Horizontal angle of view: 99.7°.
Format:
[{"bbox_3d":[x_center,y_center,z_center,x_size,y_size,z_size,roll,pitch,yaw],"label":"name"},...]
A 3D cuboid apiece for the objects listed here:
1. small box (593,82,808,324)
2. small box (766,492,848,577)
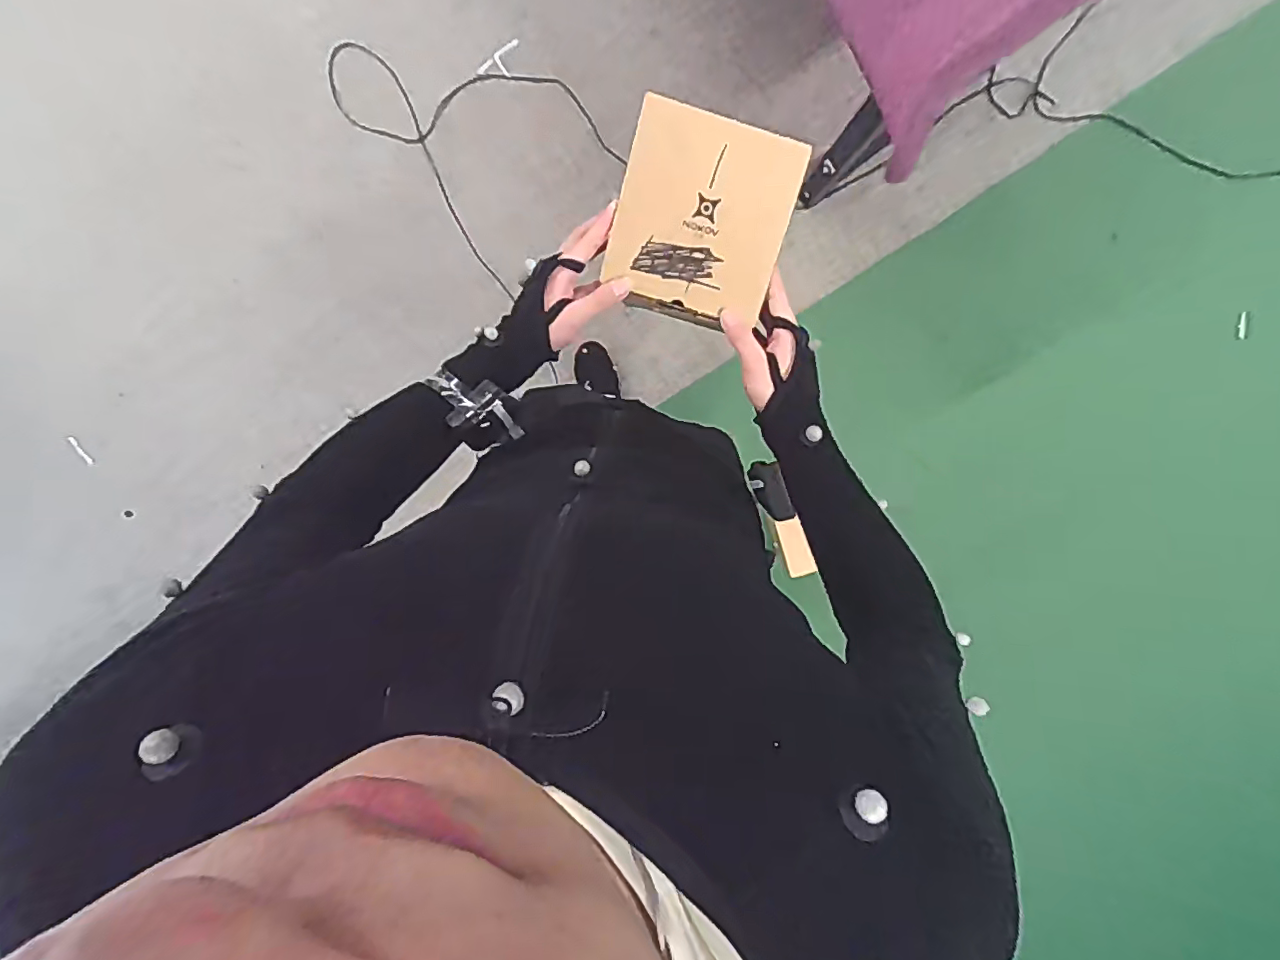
[{"bbox_3d":[0.055,-0.276,0.588,0.168,0.176,0.179,15,103,-4],"label":"small box"},{"bbox_3d":[0.477,0.151,1.564,0.168,0.176,0.179,-18,100,6],"label":"small box"}]
